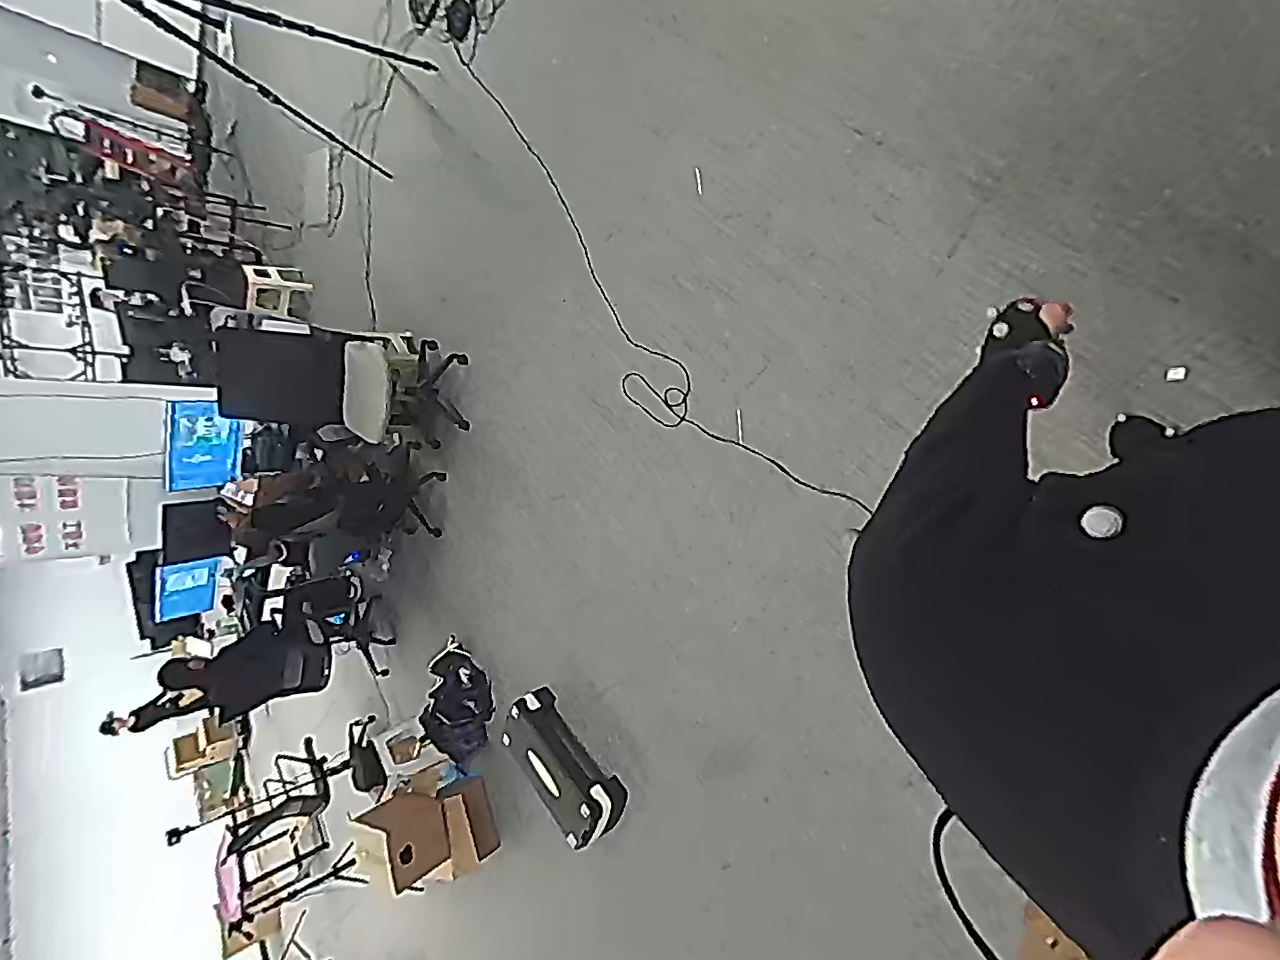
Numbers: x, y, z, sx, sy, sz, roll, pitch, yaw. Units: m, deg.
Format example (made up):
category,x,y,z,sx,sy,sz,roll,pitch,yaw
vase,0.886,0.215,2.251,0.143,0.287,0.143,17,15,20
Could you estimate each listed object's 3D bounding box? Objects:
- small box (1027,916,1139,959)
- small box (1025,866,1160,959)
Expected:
category,x,y,z,sx,sy,sz,roll,pitch,yaw
small box,0.914,1.038,1.088,0.168,0.176,0.179,49,123,27
small box,1.019,1.023,1.215,0.168,0.176,0.179,47,122,28
